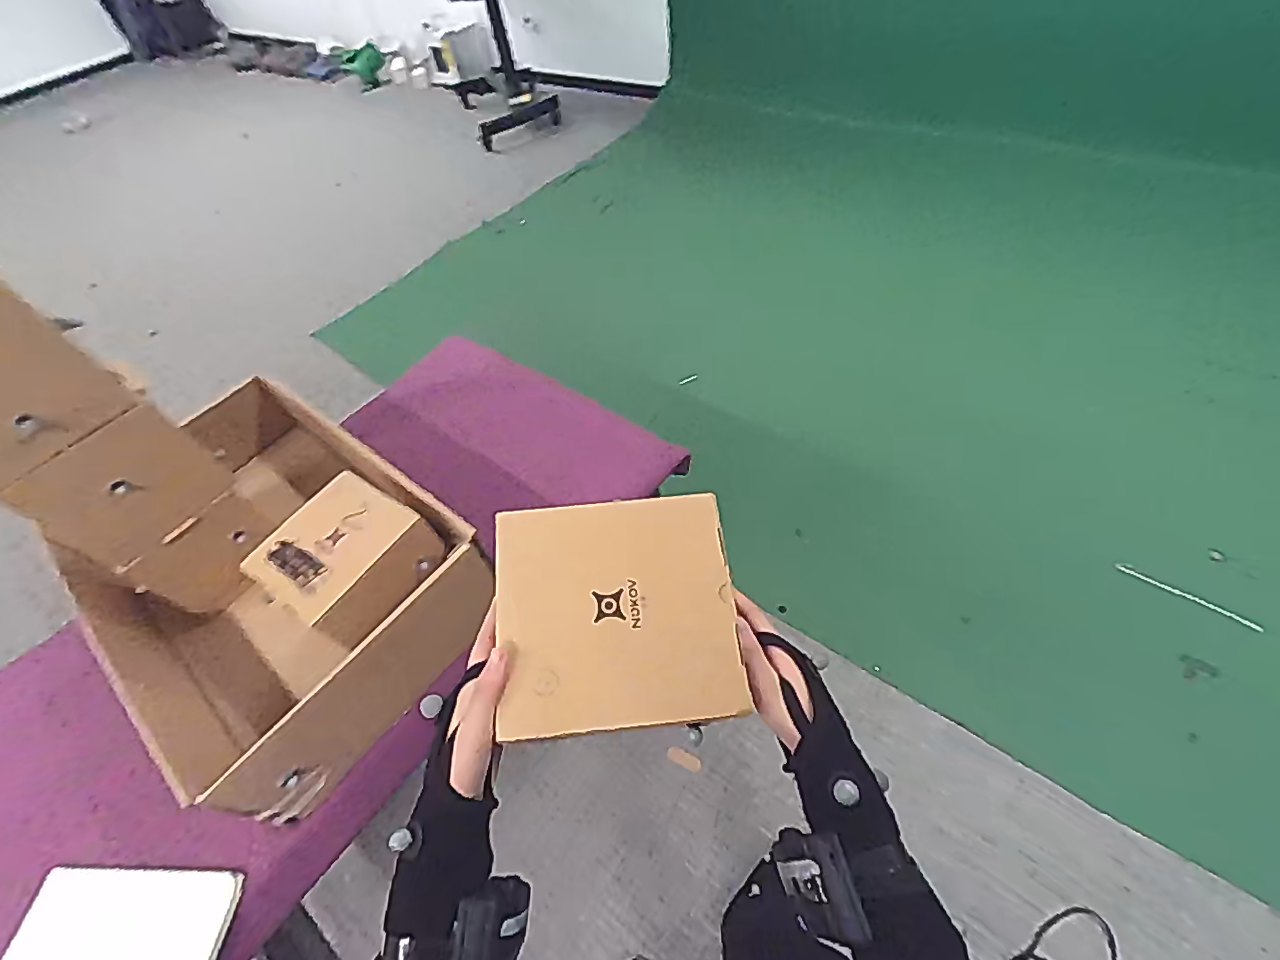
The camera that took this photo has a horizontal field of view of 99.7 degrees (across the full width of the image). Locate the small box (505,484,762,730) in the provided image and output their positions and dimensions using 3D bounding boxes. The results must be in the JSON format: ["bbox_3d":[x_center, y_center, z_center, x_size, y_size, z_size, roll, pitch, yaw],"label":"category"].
[{"bbox_3d":[-0.011,0.117,0.465,0.179,0.176,0.168,-4,65,-4],"label":"small box"}]

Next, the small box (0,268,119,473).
[{"bbox_3d":[-0.717,-0.126,0.571,0.168,0.176,0.179,30,61,25],"label":"small box"}]

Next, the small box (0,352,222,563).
[{"bbox_3d":[-0.698,-0.028,0.702,0.168,0.176,0.179,28,61,24],"label":"small box"}]
